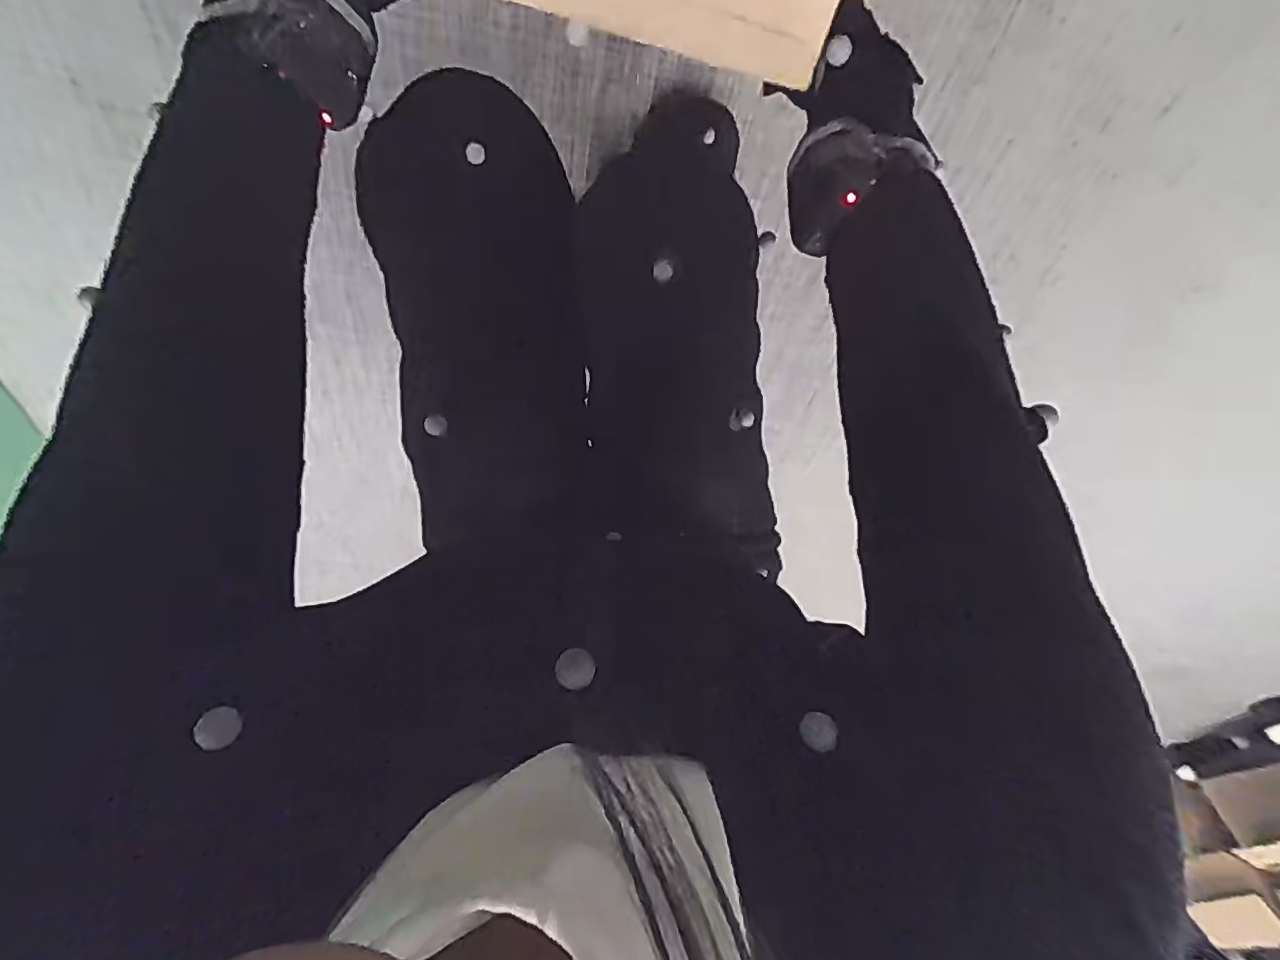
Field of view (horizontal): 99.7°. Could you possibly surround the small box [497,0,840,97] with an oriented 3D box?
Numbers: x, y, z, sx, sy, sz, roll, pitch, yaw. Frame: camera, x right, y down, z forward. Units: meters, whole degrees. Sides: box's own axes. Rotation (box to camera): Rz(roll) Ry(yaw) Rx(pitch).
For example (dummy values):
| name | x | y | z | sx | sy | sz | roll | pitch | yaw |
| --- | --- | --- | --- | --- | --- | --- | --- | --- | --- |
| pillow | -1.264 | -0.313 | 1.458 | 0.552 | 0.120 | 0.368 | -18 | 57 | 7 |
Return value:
| name | x | y | z | sx | sy | sz | roll | pitch | yaw |
| --- | --- | --- | --- | --- | --- | --- | --- | --- | --- |
| small box | 0.006 | -0.292 | 0.223 | 0.179 | 0.176 | 0.168 | 9 | 134 | -11 |
